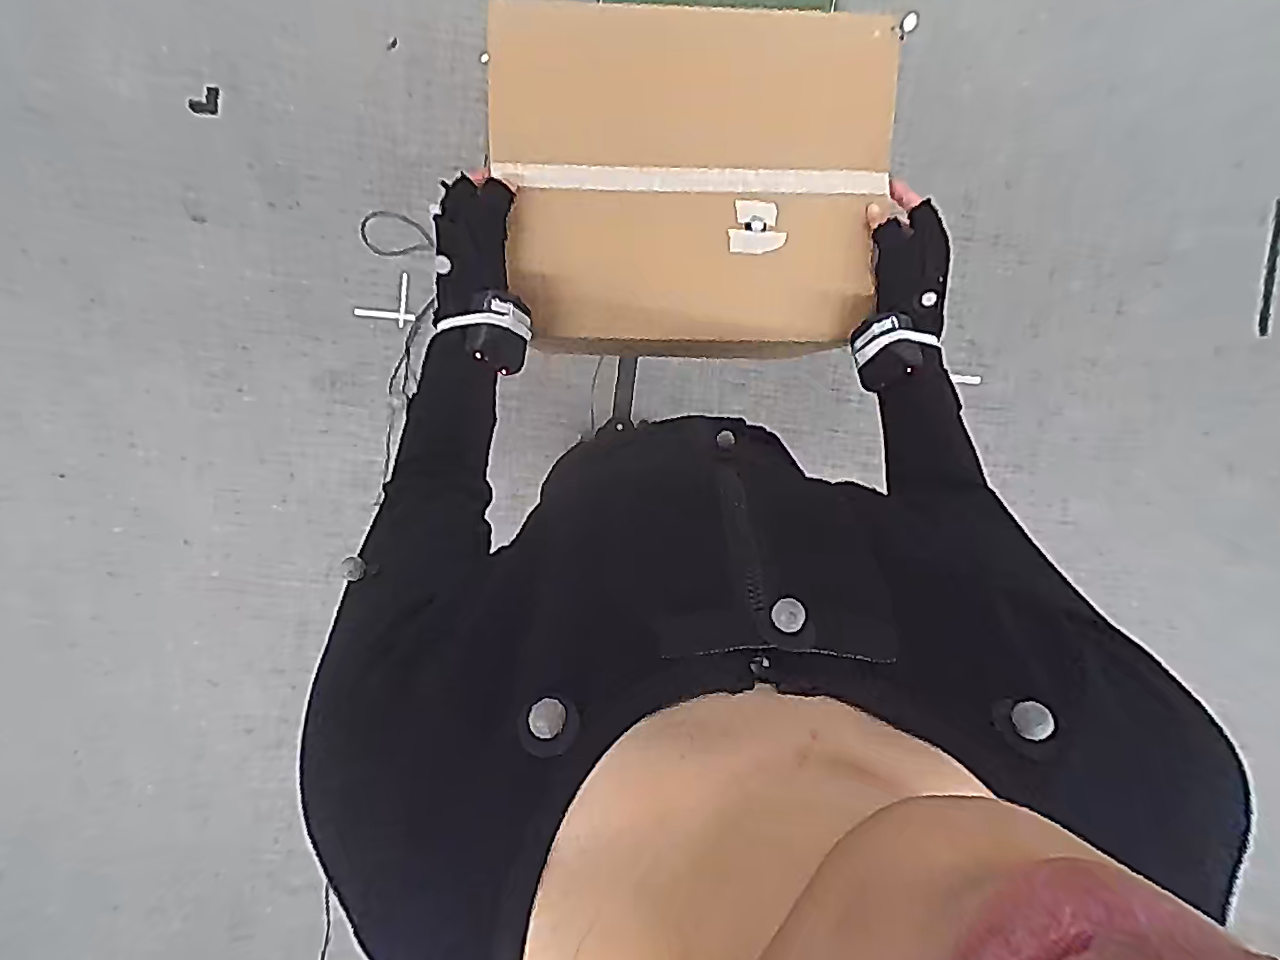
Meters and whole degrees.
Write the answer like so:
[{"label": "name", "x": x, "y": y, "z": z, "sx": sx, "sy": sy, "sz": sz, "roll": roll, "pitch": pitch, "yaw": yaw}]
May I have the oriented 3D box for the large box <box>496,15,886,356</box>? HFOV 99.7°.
[{"label": "large box", "x": 0.047, "y": -0.334, "z": 0.713, "sx": 0.408, "sy": 0.320, "sz": 0.320, "roll": 0, "pitch": 99, "yaw": -2}]
